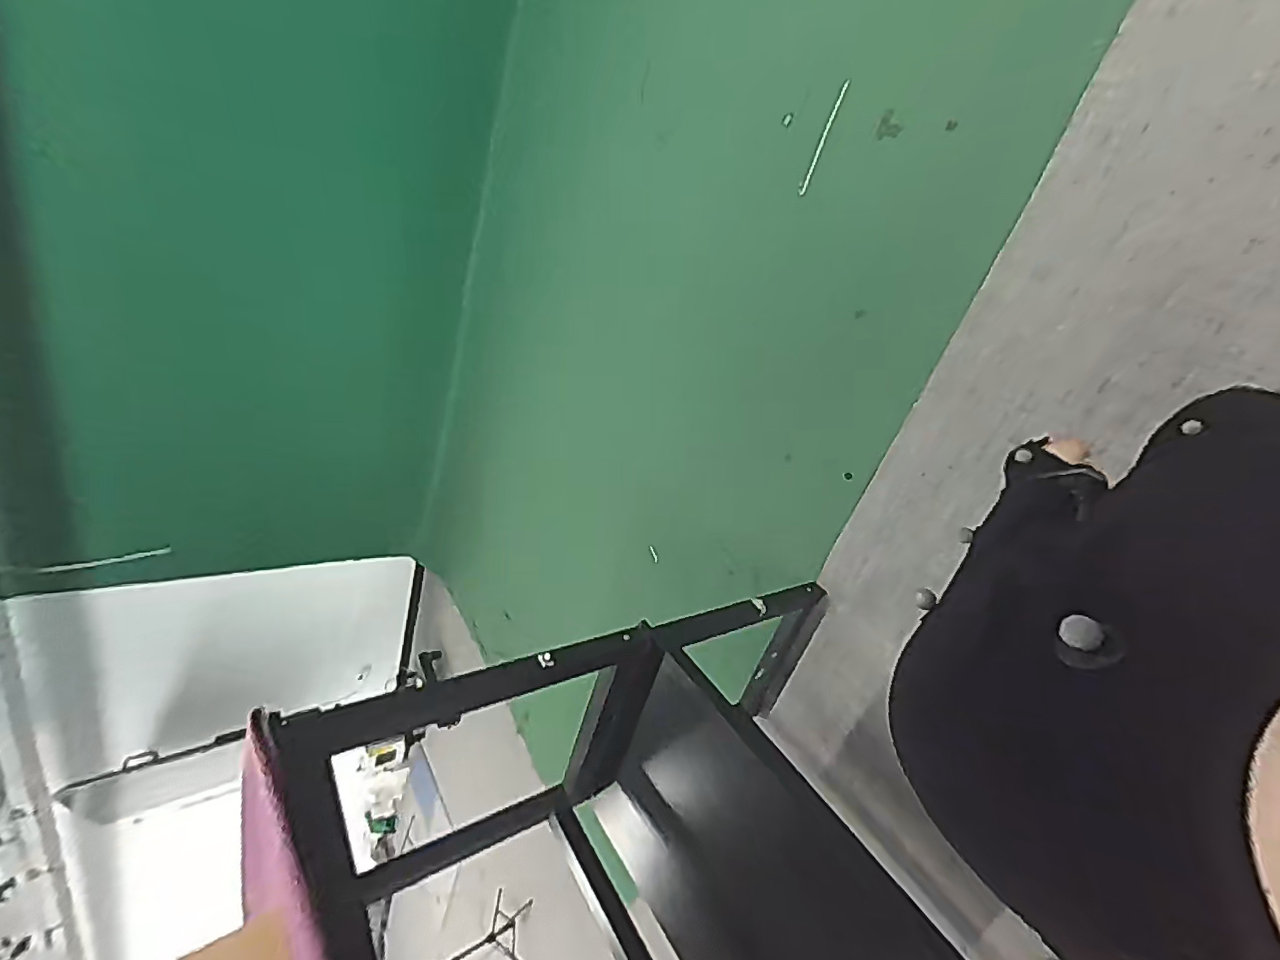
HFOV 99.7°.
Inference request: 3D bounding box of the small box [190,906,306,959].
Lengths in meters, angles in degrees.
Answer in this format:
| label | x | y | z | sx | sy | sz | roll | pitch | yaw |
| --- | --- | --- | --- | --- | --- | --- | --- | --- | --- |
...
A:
| label | x | y | z | sx | sy | sz | roll | pitch | yaw |
| --- | --- | --- | --- | --- | --- | --- | --- | --- | --- |
| small box | -0.474 | 0.655 | 0.620 | 0.179 | 0.176 | 0.168 | 42 | 125 | 40 |
